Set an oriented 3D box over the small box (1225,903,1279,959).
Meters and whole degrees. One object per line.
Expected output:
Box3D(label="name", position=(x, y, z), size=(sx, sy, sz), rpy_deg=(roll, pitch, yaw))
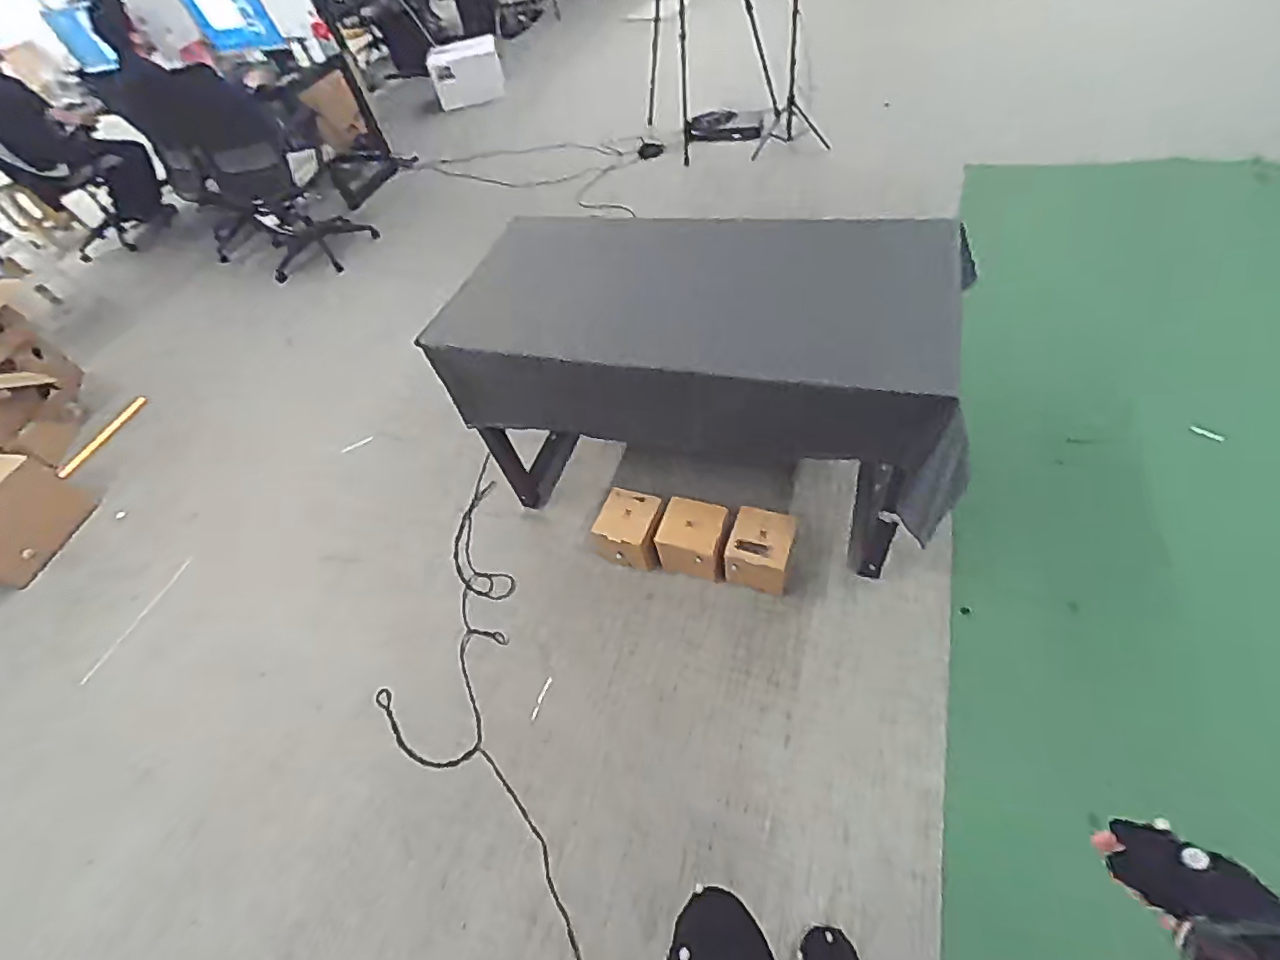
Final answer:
Box3D(label="small box", position=(1.137, 0.836, 0.895), size=(0.179, 0.176, 0.168), rpy_deg=(20, 58, 25))
